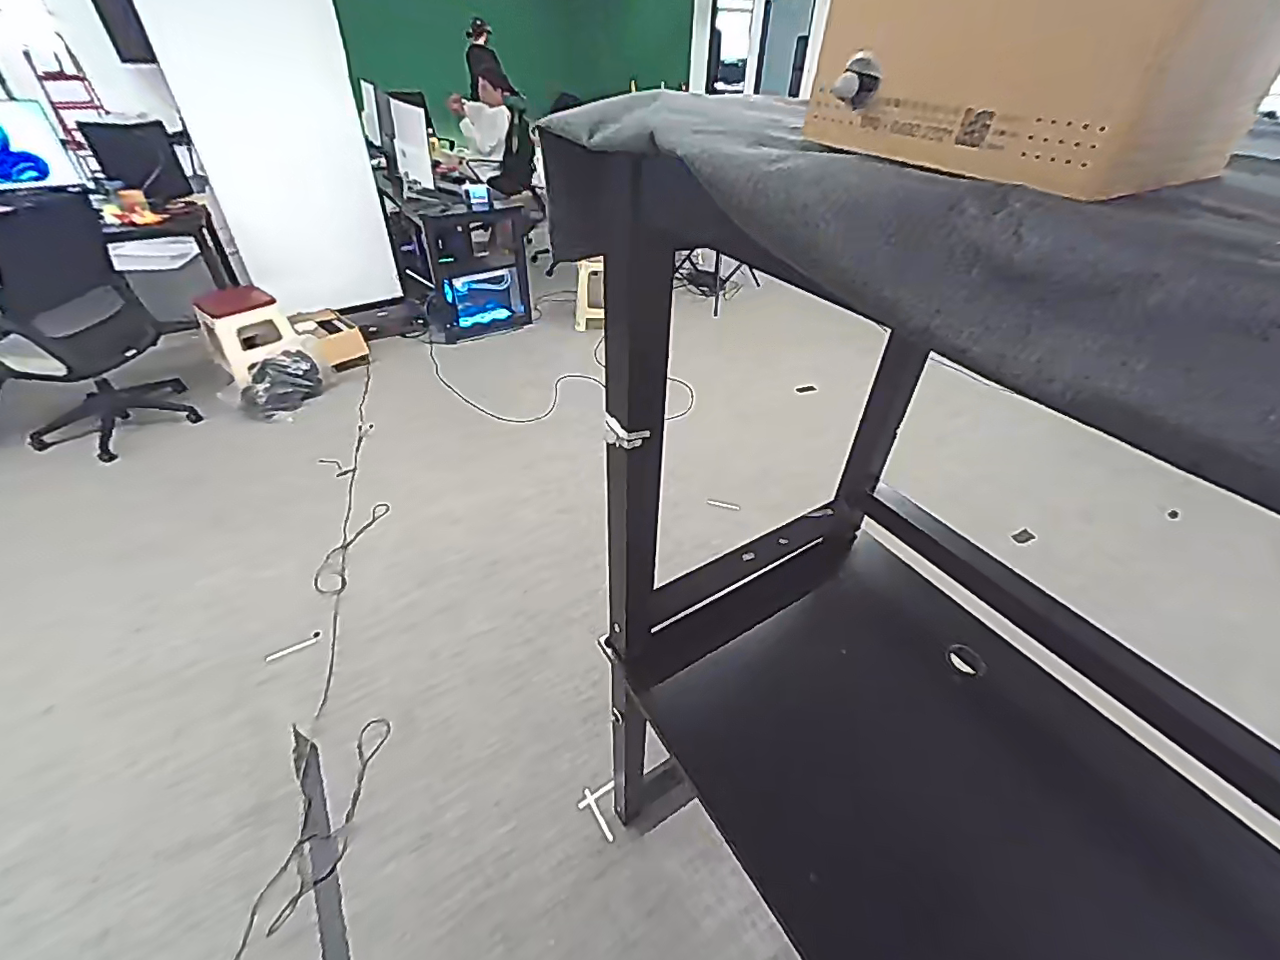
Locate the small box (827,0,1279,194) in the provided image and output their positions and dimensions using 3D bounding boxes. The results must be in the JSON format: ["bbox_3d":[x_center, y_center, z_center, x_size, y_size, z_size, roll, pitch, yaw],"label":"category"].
[{"bbox_3d":[0.218,-0.252,0.269,0.179,0.176,0.168,-21,46,-29],"label":"small box"}]
